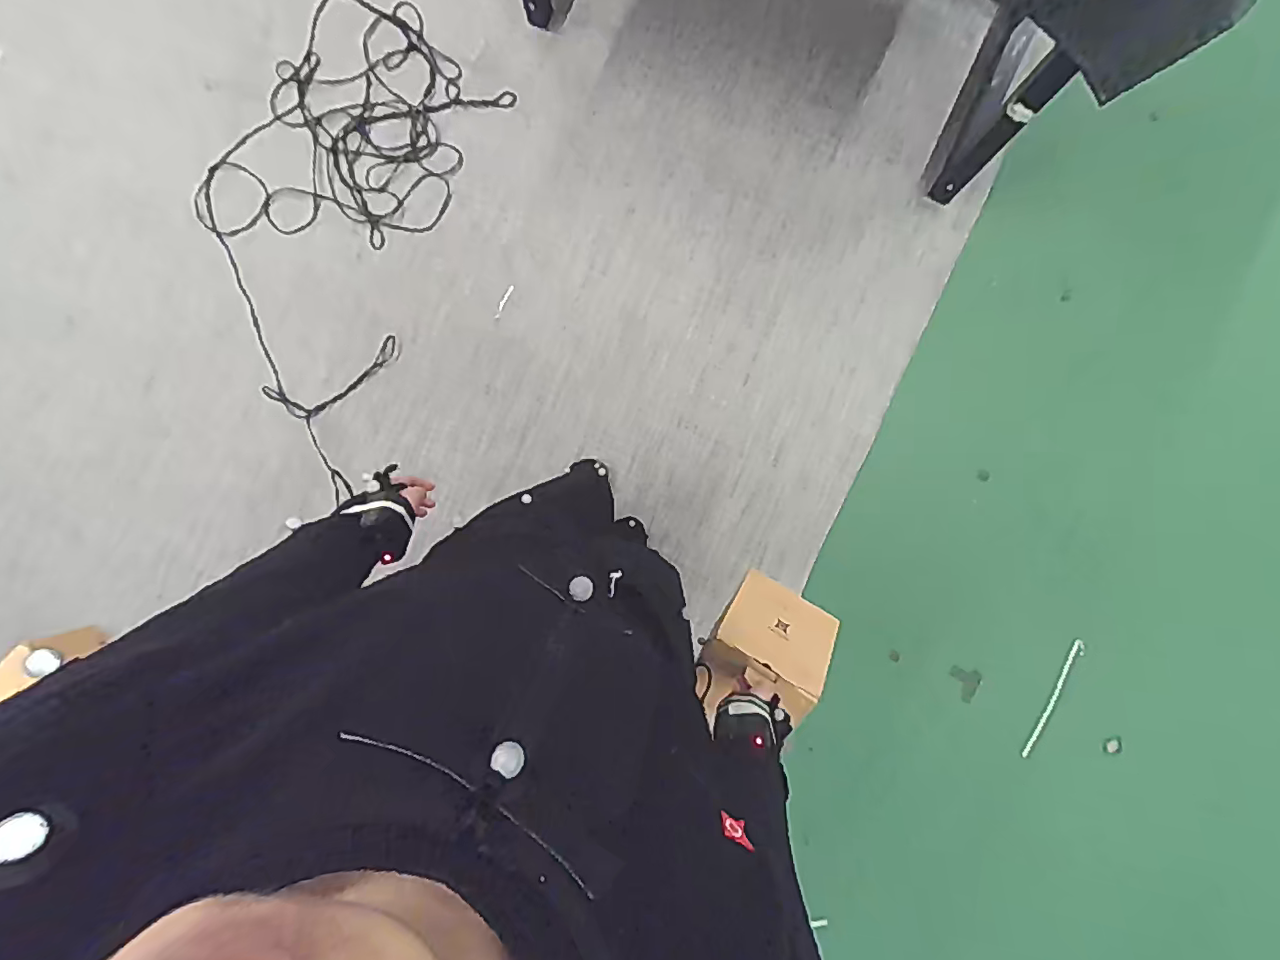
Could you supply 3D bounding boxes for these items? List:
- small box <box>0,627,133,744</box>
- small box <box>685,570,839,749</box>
[{"bbox_3d":[-1.415,0.490,1.316,0.168,0.176,0.179,44,90,3],"label":"small box"},{"bbox_3d":[0.190,0.286,0.864,0.168,0.179,0.176,31,126,11],"label":"small box"}]
